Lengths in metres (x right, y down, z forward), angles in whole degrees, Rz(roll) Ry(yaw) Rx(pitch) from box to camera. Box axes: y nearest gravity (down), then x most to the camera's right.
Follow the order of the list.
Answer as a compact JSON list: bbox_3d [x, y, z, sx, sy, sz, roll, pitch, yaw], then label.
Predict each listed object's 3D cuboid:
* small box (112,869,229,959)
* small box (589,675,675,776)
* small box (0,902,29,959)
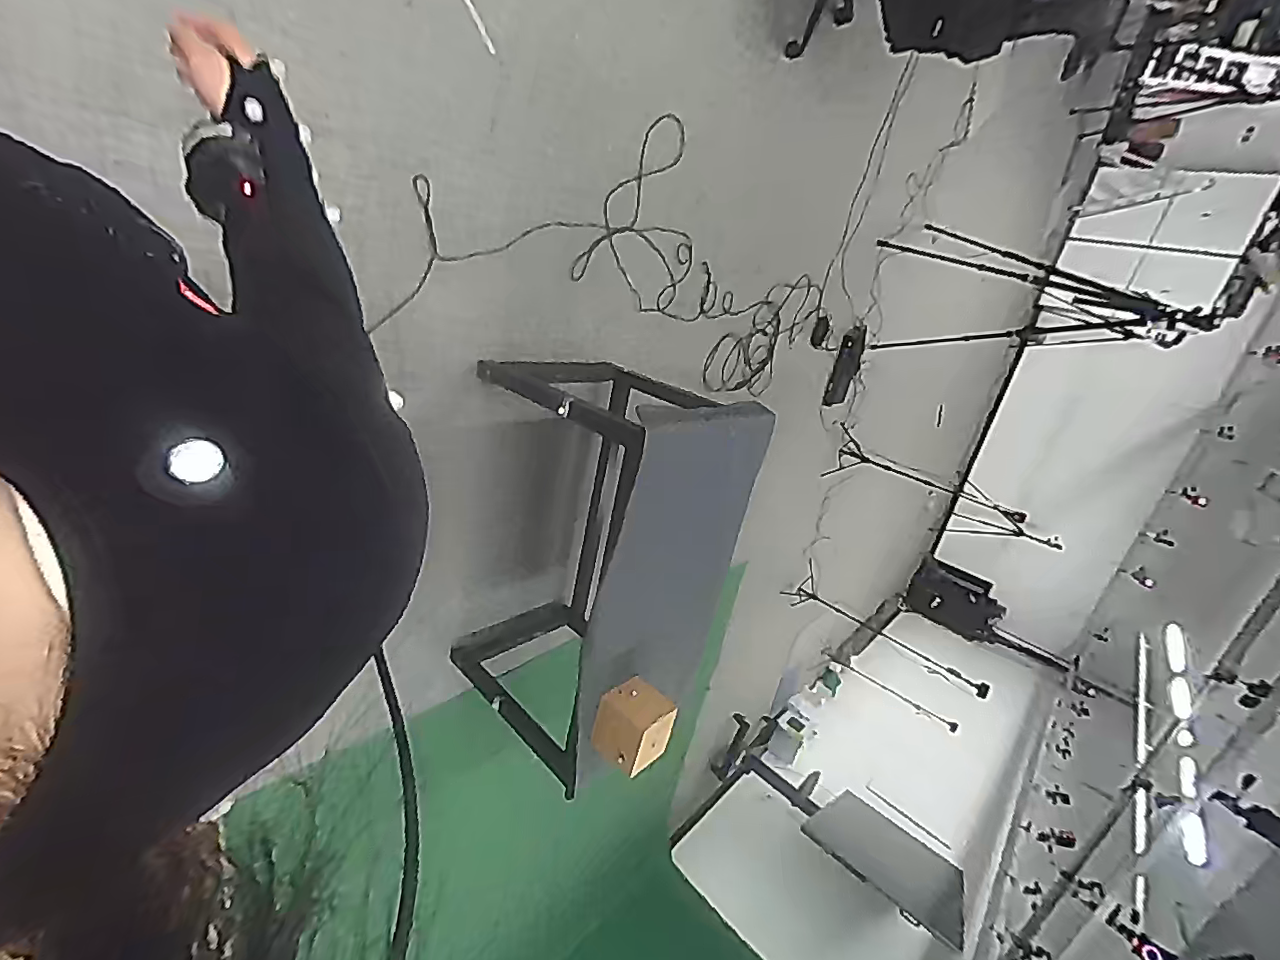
[{"bbox_3d":[-1.158,1.124,1.336,0.179,0.176,0.168,-19,125,-41],"label":"small box"},{"bbox_3d":[-0.028,0.715,1.595,0.168,0.176,0.179,-7,117,-52],"label":"small box"},{"bbox_3d":[-1.485,1.105,1.199,0.168,0.176,0.179,-1,111,-52],"label":"small box"}]
